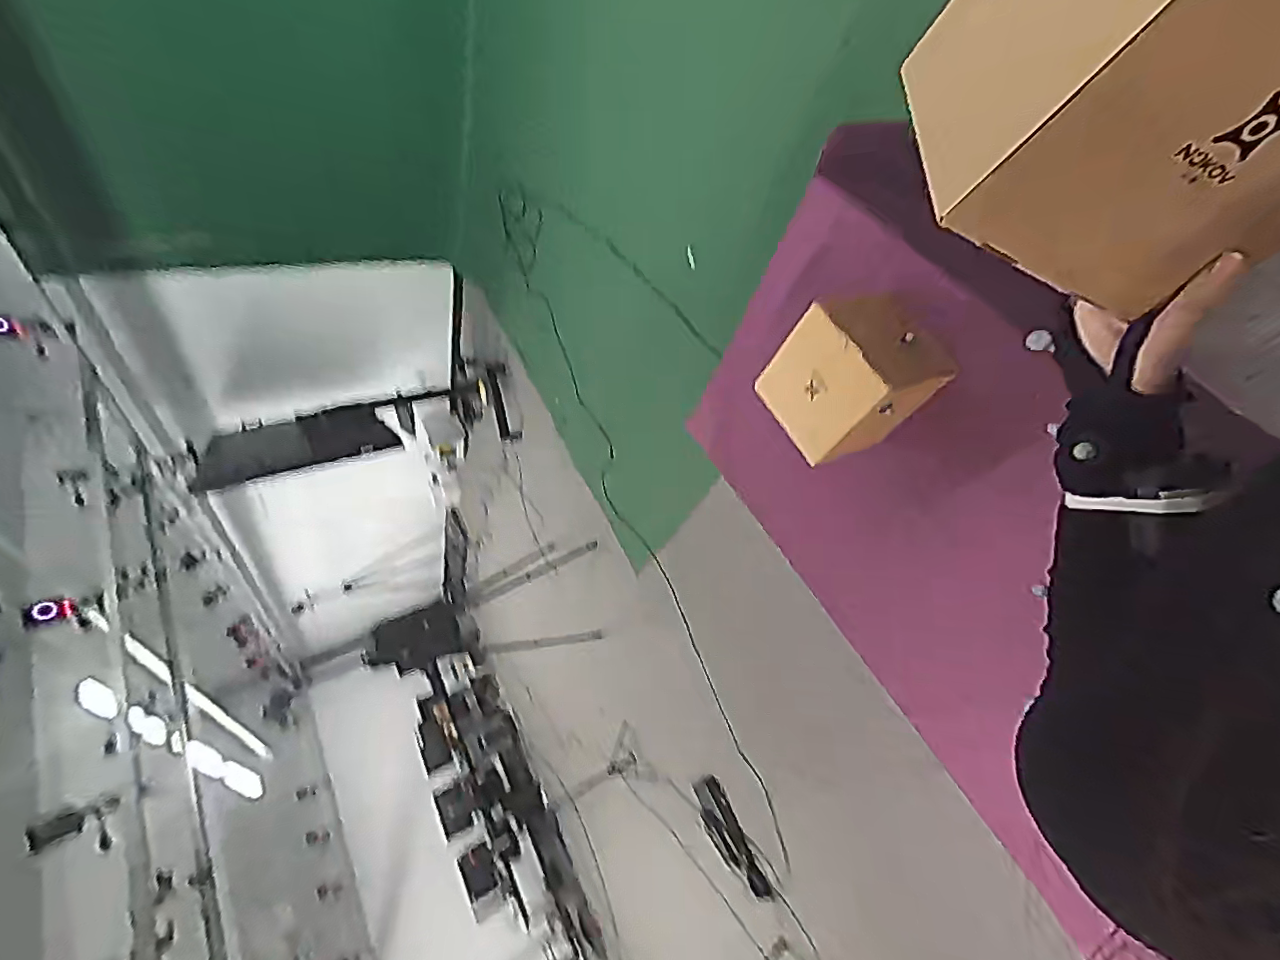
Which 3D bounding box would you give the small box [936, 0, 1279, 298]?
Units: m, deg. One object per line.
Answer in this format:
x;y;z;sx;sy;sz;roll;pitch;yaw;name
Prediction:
0.284;-0.239;0.281;0.179;0.168;0.176;137;145;-57;small box

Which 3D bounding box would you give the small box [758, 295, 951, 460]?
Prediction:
0.320;-0.157;0.820;0.168;0.176;0.179;60;146;21;small box
